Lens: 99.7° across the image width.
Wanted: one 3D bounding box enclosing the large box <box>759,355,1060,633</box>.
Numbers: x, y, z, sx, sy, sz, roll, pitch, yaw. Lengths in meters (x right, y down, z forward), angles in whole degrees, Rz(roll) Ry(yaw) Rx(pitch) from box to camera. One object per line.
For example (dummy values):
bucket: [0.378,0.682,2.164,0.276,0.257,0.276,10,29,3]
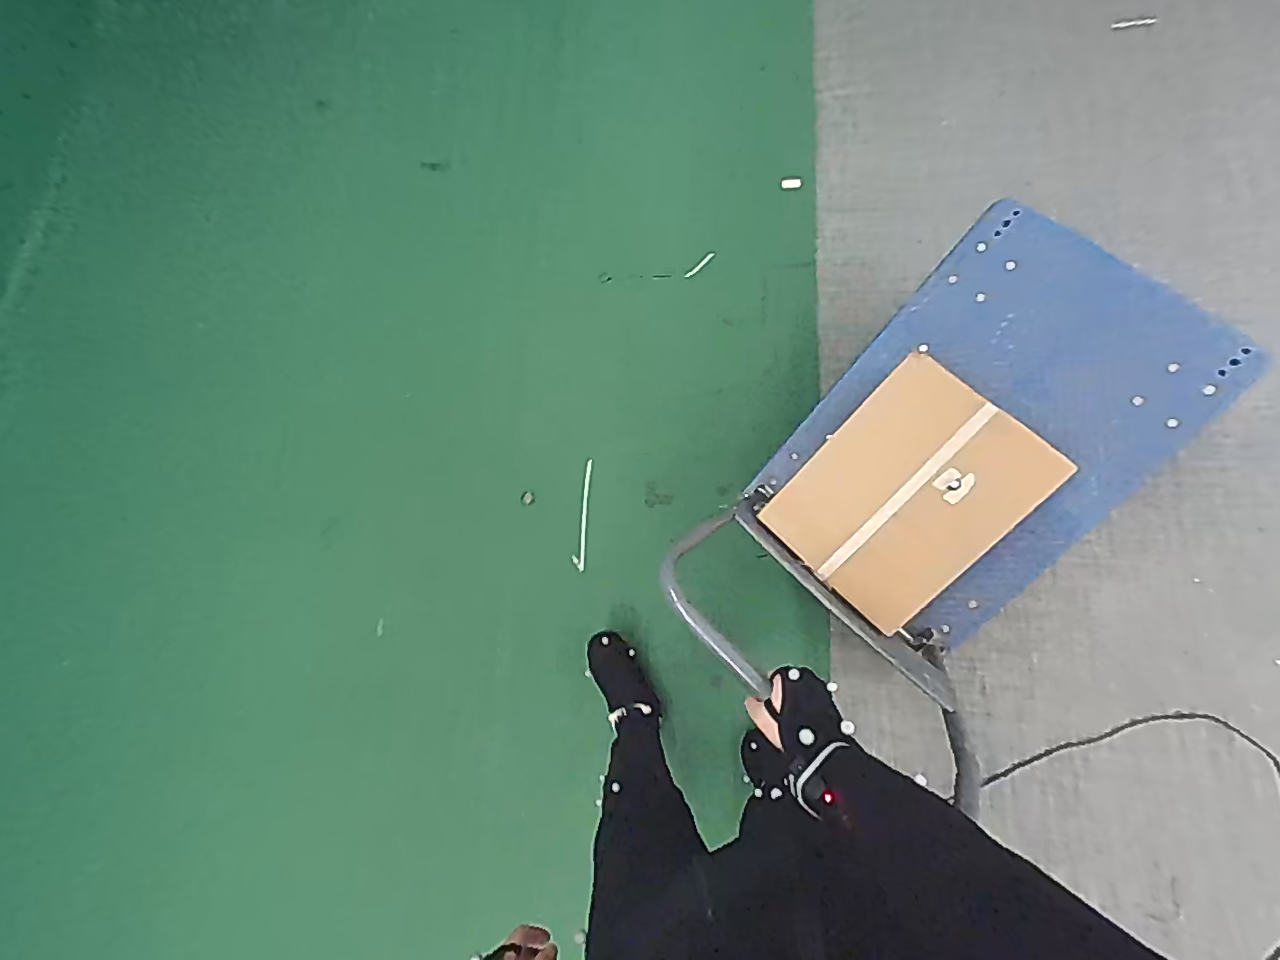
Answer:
large box: [0.503,0.030,1.090,0.320,0.320,0.408,44,104,15]
